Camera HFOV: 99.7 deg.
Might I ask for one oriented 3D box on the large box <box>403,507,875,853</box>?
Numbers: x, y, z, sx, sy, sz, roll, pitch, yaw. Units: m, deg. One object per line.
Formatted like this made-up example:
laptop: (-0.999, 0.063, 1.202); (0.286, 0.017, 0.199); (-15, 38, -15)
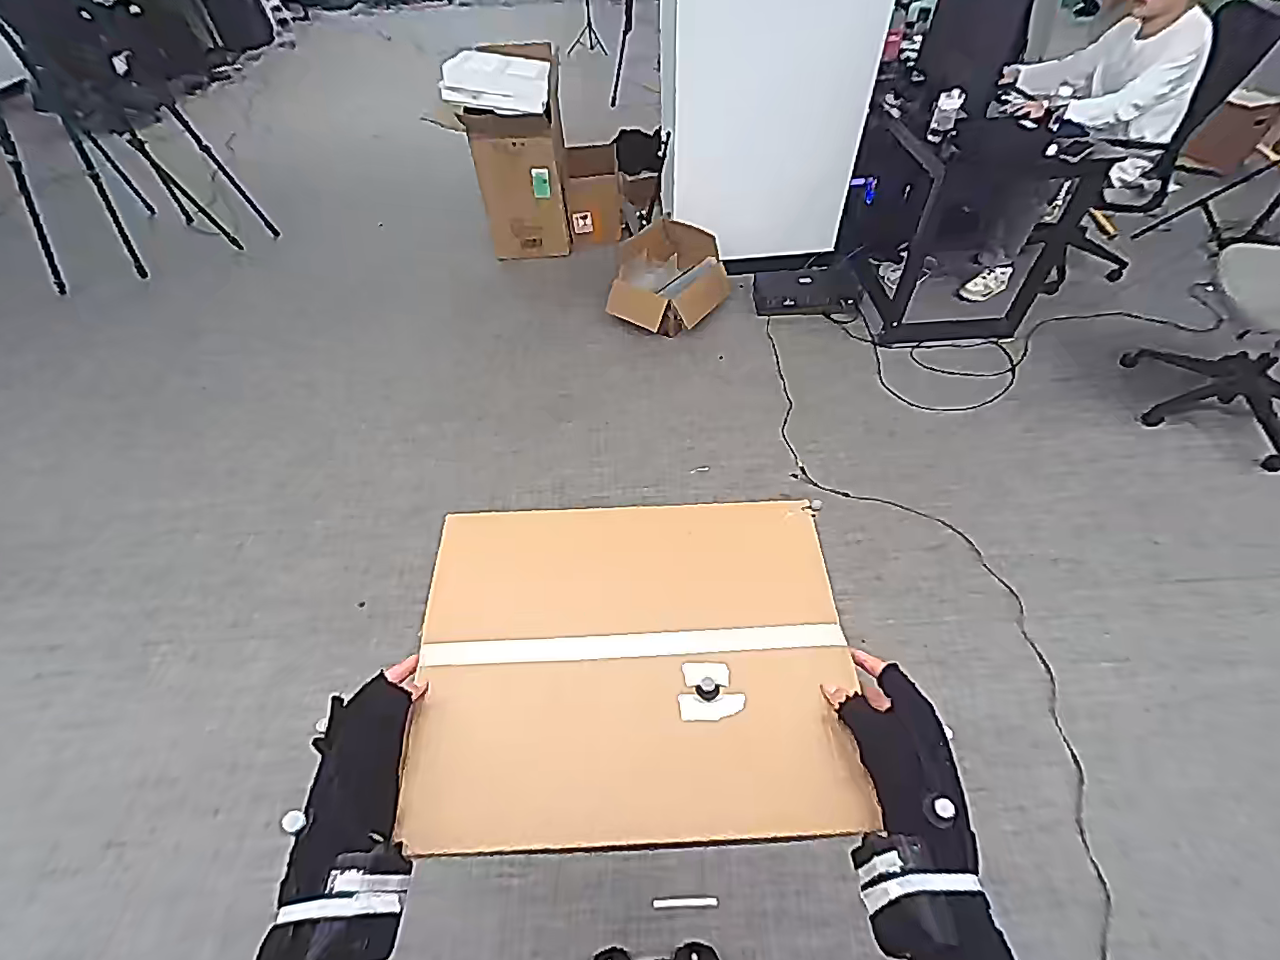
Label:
large box: (-0.006, 0.250, 0.653); (0.408, 0.320, 0.320); (-2, 55, -1)
